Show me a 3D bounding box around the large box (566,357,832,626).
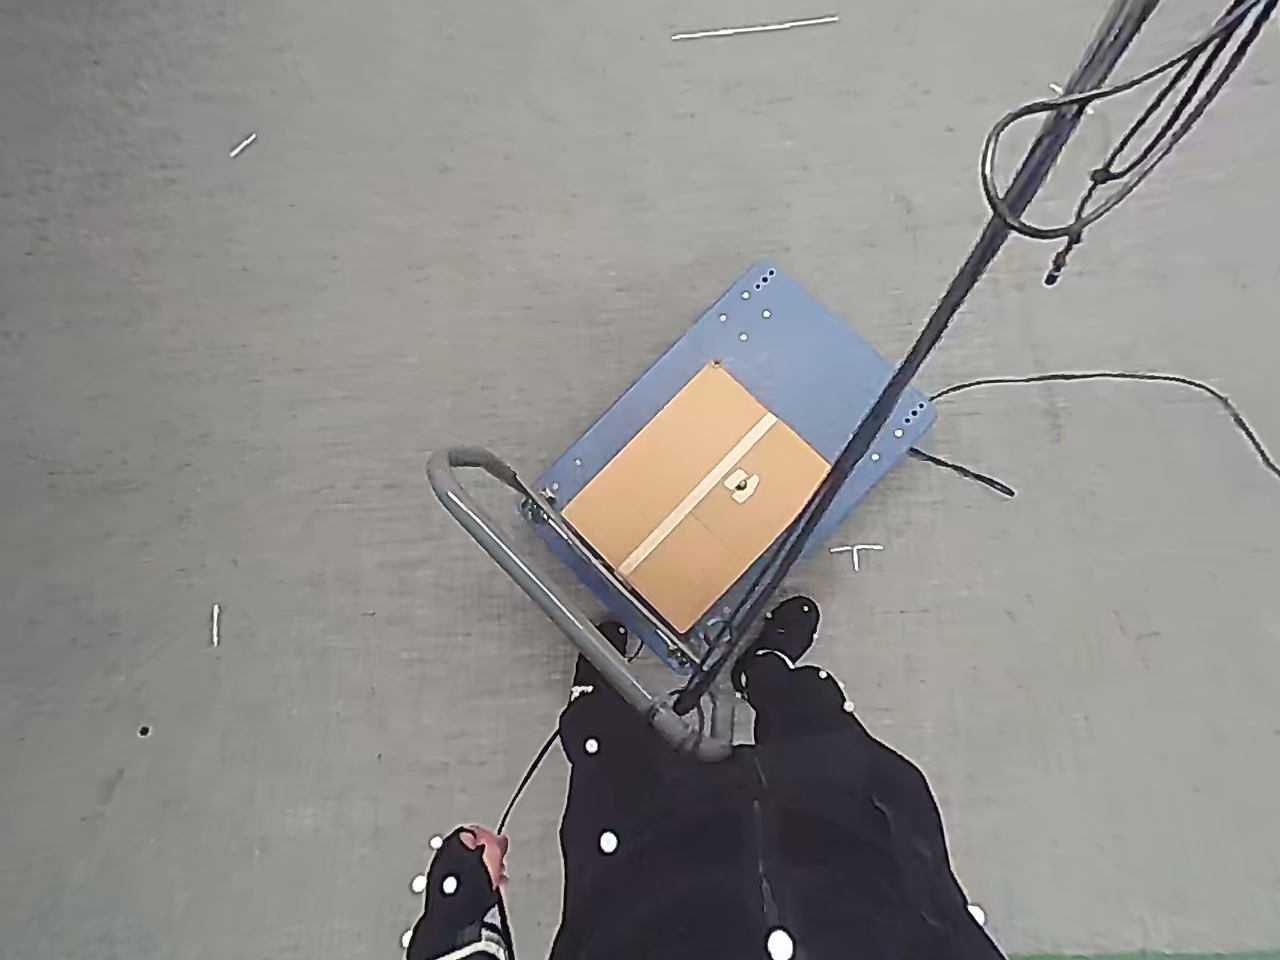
[{"bbox_3d":[0.111,0.035,1.123,0.320,0.320,0.408,44,86,7],"label":"large box"}]
